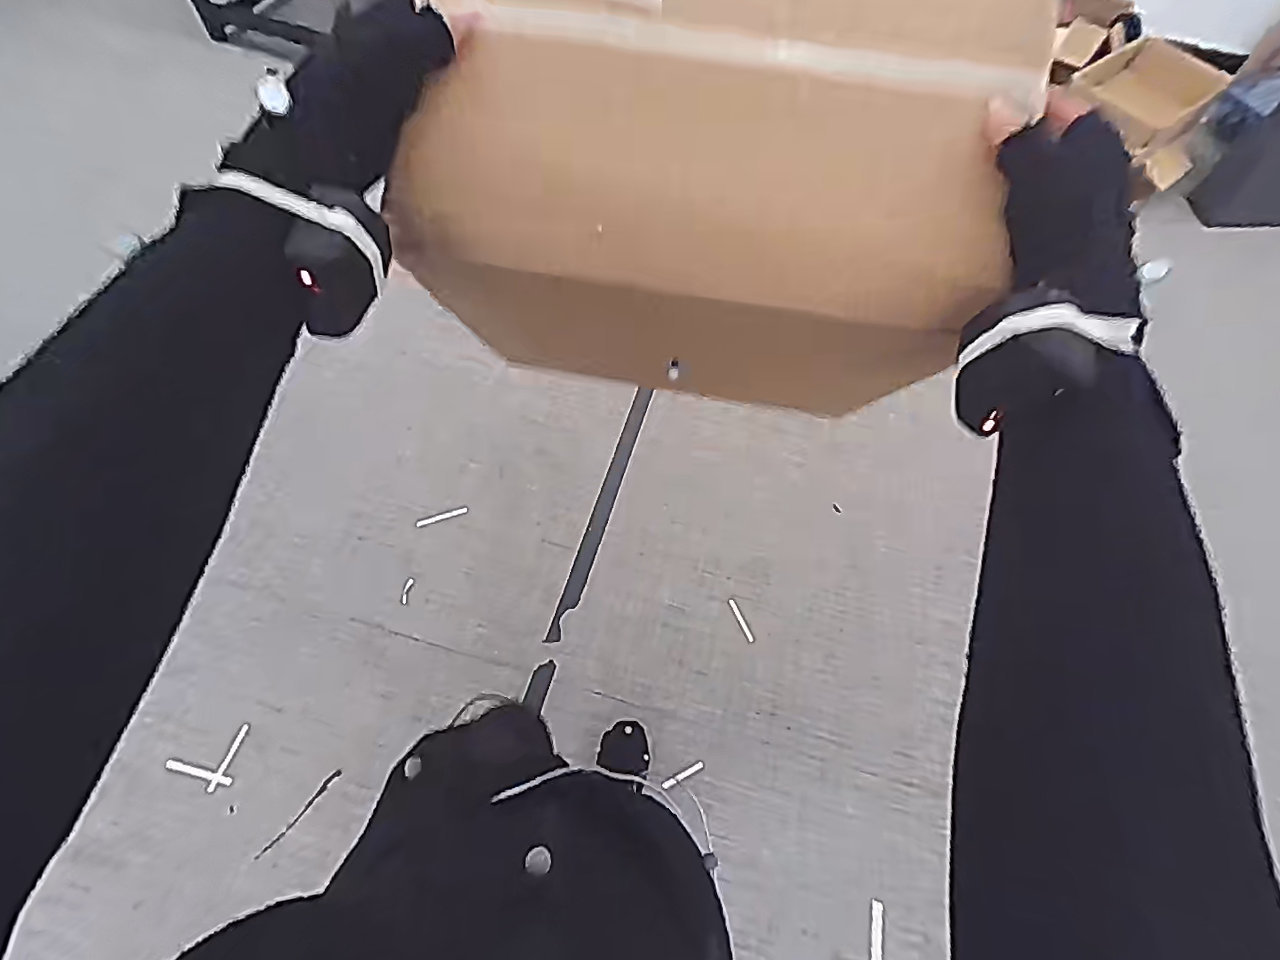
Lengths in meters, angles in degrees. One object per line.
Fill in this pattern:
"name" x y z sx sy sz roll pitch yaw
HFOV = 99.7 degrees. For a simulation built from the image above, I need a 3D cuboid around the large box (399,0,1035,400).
"large box" 0.060 -0.272 0.511 0.408 0.320 0.320 9 88 3
